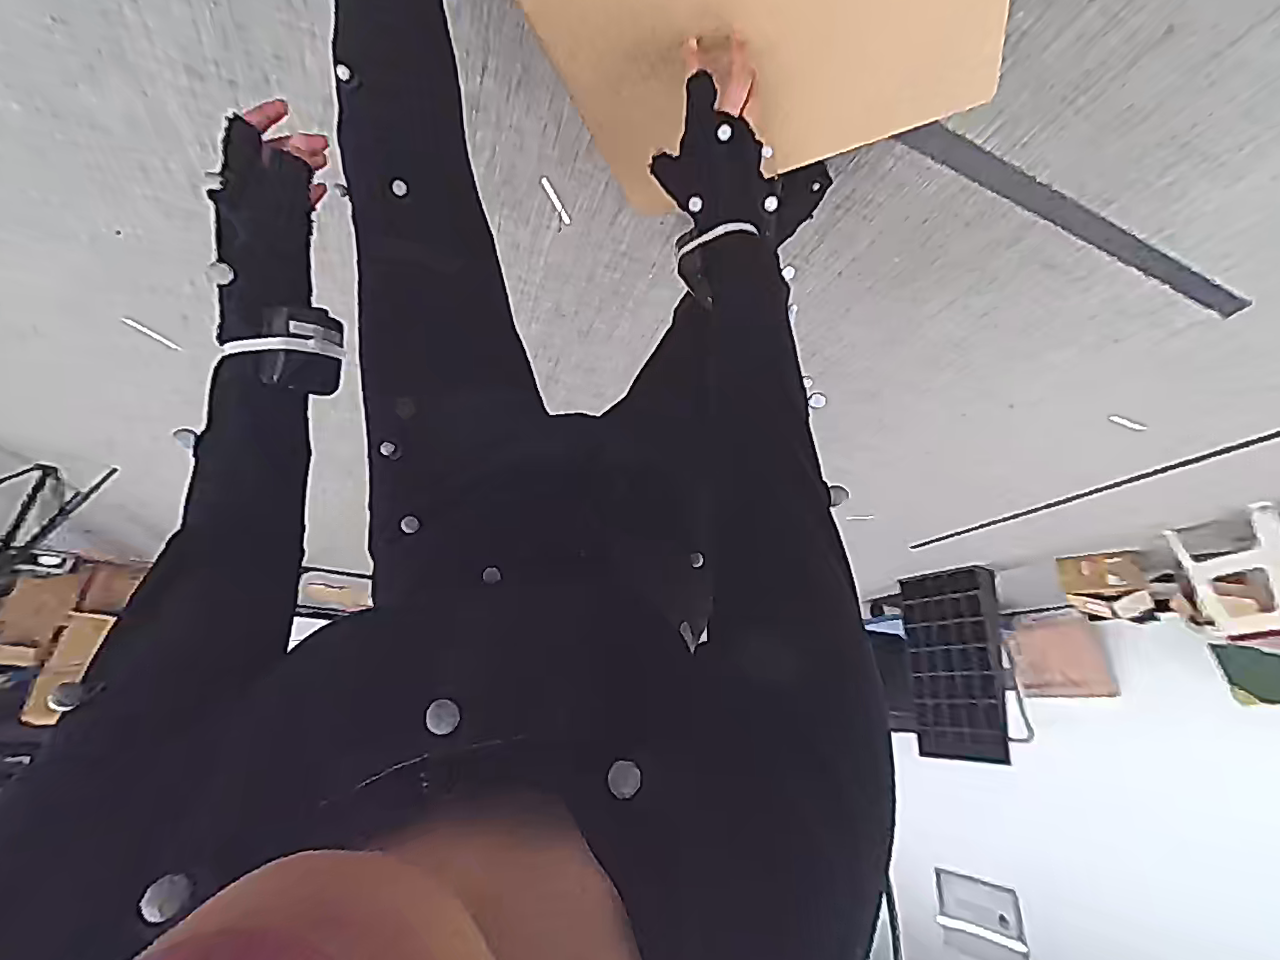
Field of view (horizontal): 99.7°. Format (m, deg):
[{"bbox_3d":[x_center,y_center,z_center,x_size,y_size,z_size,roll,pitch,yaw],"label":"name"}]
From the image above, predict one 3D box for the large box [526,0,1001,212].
[{"bbox_3d":[0.123,-0.561,0.564,0.408,0.320,0.320,-7,157,24],"label":"large box"}]
